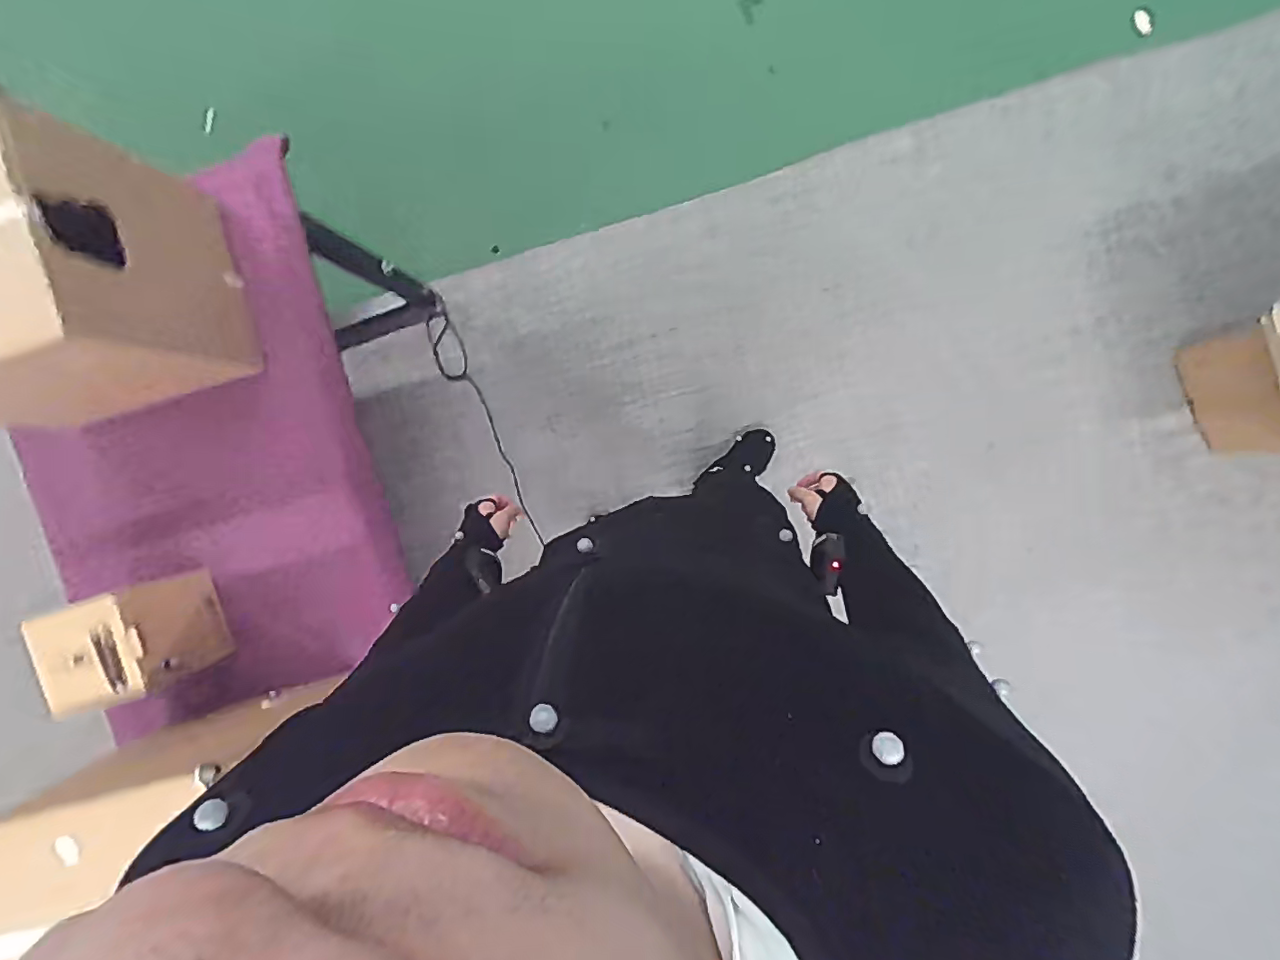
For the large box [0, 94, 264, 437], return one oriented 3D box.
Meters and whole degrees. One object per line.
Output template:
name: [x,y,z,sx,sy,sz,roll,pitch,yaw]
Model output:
large box: [-0.895,-0.267,0.810,0.408,0.320,0.320,-16,93,5]
